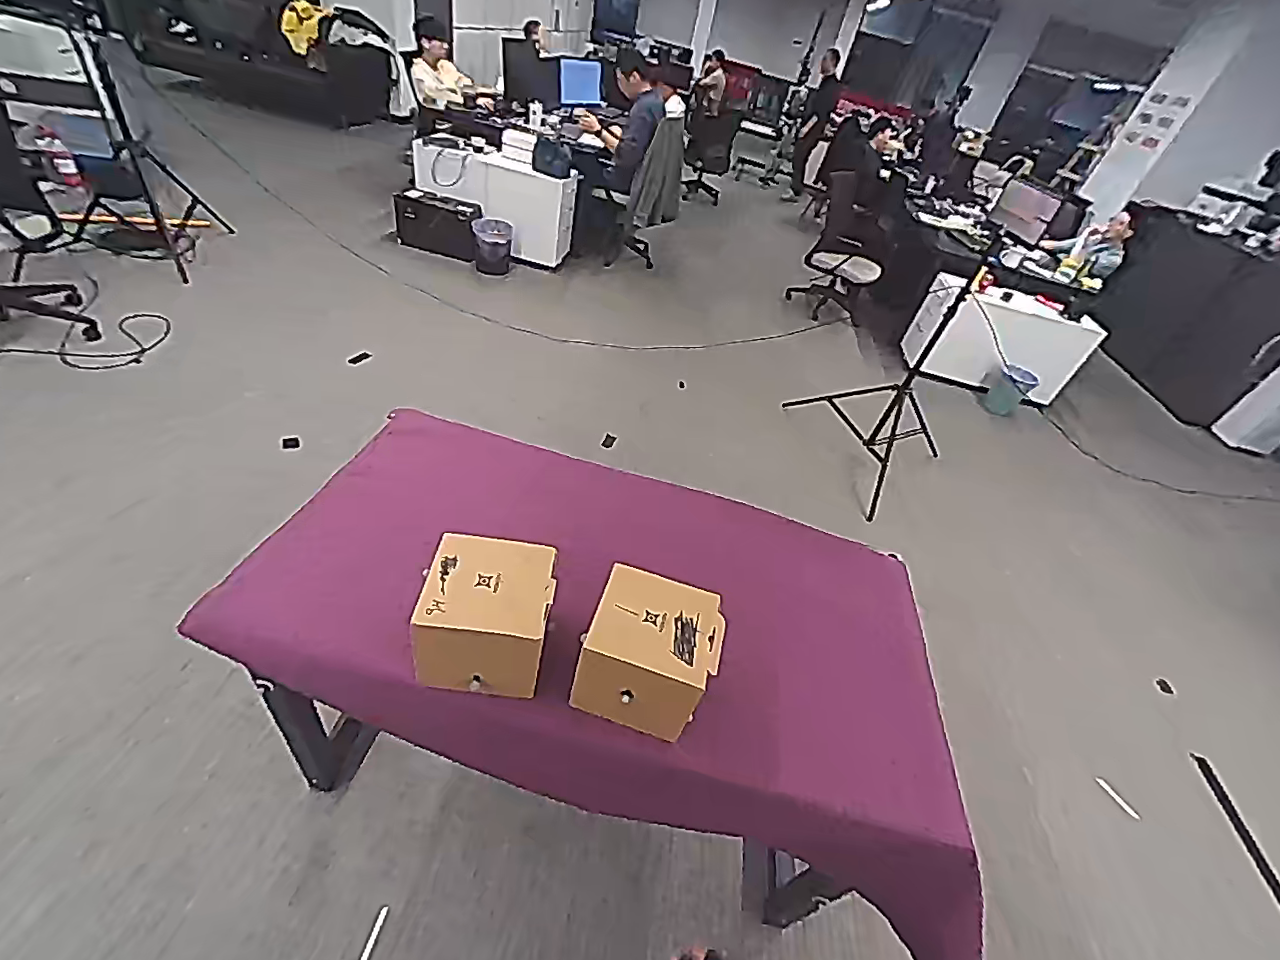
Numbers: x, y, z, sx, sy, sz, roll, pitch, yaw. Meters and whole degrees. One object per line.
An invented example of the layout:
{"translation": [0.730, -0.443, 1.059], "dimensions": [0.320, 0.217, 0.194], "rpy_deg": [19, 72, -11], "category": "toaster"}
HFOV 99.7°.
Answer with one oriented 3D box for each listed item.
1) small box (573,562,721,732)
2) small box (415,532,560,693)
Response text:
{"translation": [0.010, 0.262, 0.839], "dimensions": [0.179, 0.176, 0.168], "rpy_deg": [17, 39, 5], "category": "small box"}
{"translation": [-0.228, 0.208, 0.830], "dimensions": [0.179, 0.176, 0.168], "rpy_deg": [10, 39, -8], "category": "small box"}
